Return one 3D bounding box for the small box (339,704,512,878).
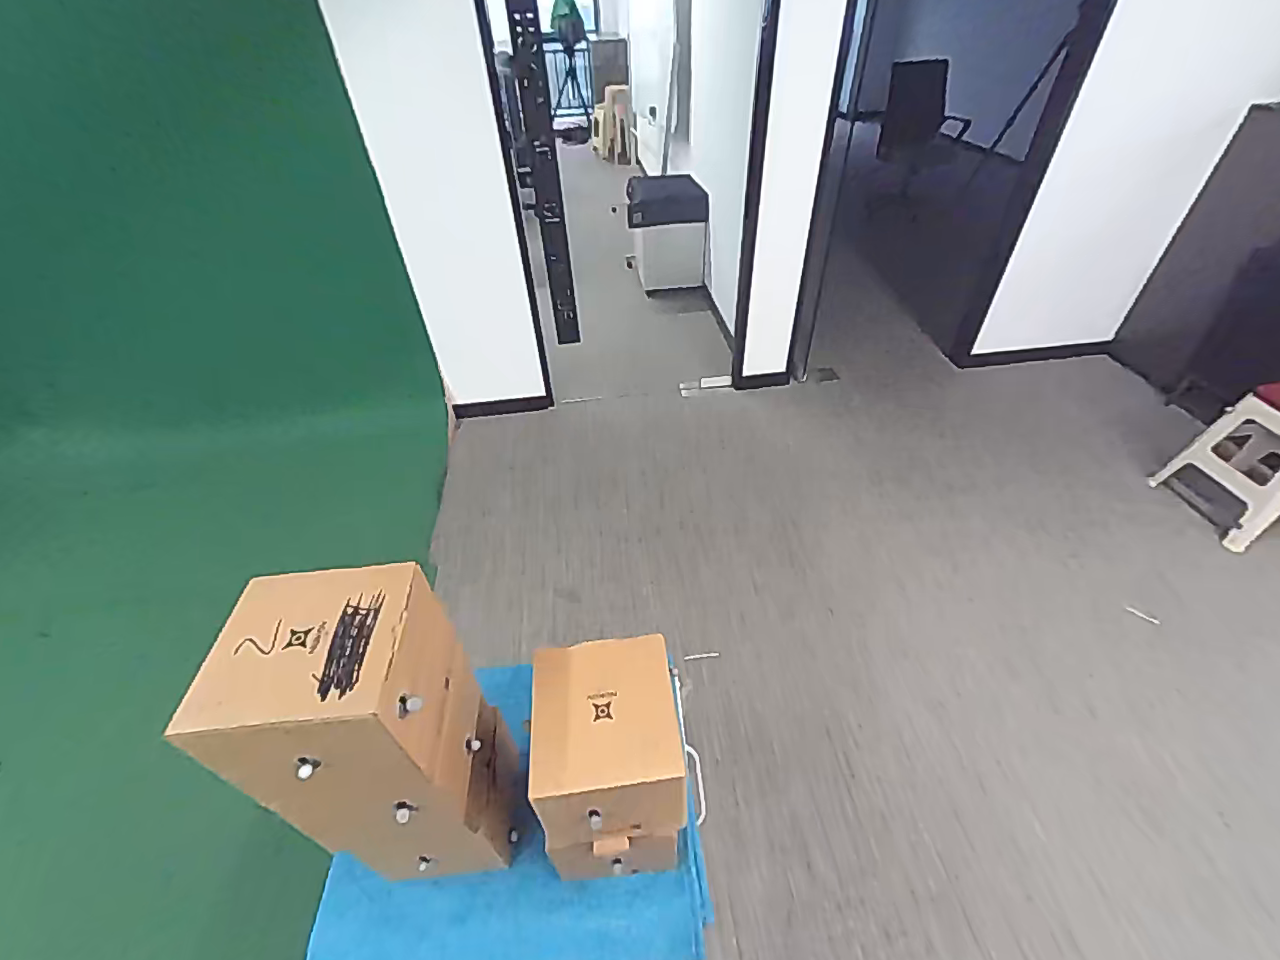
[{"bbox_3d":[-0.286,0.443,0.772,0.179,0.176,0.168,-5,41,-3],"label":"small box"}]

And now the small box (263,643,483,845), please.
[{"bbox_3d":[-0.301,0.322,0.662,0.179,0.176,0.168,-5,41,-3],"label":"small box"}]

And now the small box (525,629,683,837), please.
[{"bbox_3d":[-0.041,0.313,0.663,0.168,0.176,0.179,-6,40,-4],"label":"small box"}]

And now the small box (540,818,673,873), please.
[{"bbox_3d":[-0.043,0.436,0.770,0.168,0.176,0.179,-5,42,-2],"label":"small box"}]
